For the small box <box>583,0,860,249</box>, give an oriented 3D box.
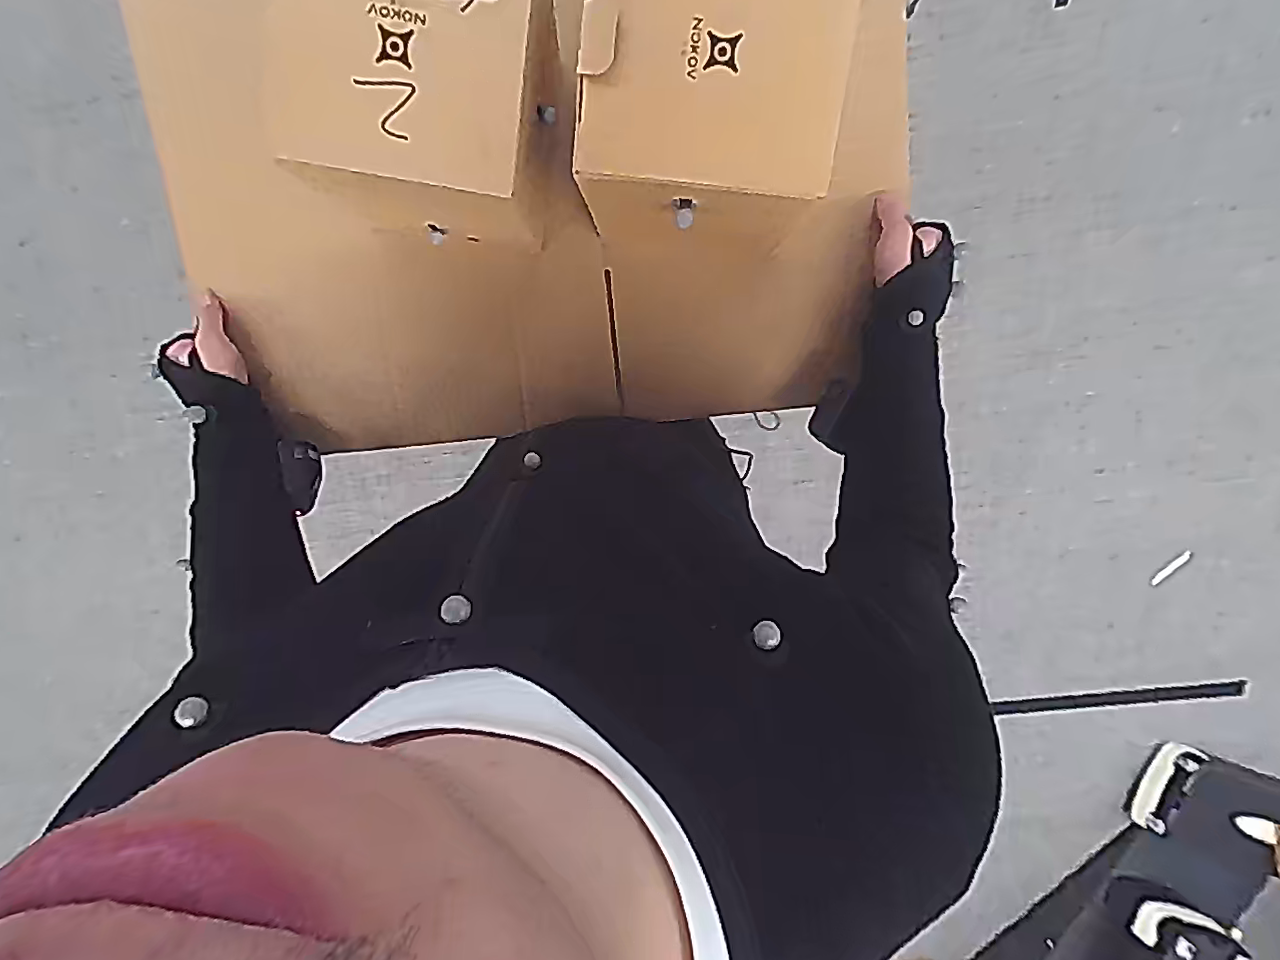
[{"bbox_3d":[0.058,-0.299,0.444,0.179,0.176,0.168,7,101,3],"label":"small box"}]
